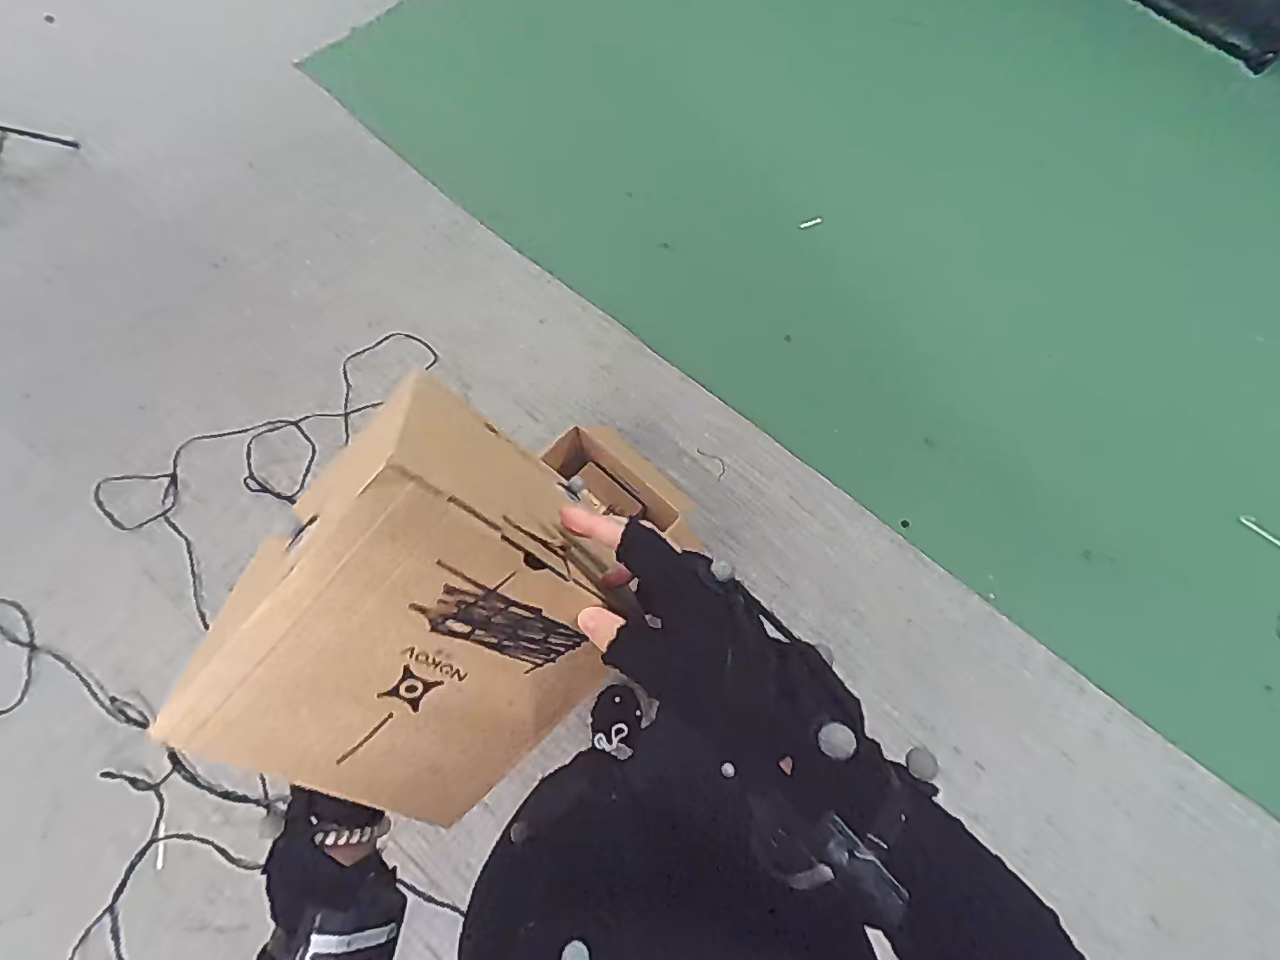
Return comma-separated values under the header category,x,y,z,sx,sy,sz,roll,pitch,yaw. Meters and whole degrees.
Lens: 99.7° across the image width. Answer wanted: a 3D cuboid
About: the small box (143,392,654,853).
category,x,y,z,sx,sy,sz,roll,pitch,yaw
small box,-0.125,0.072,0.331,0.179,0.176,0.168,-44,118,6
